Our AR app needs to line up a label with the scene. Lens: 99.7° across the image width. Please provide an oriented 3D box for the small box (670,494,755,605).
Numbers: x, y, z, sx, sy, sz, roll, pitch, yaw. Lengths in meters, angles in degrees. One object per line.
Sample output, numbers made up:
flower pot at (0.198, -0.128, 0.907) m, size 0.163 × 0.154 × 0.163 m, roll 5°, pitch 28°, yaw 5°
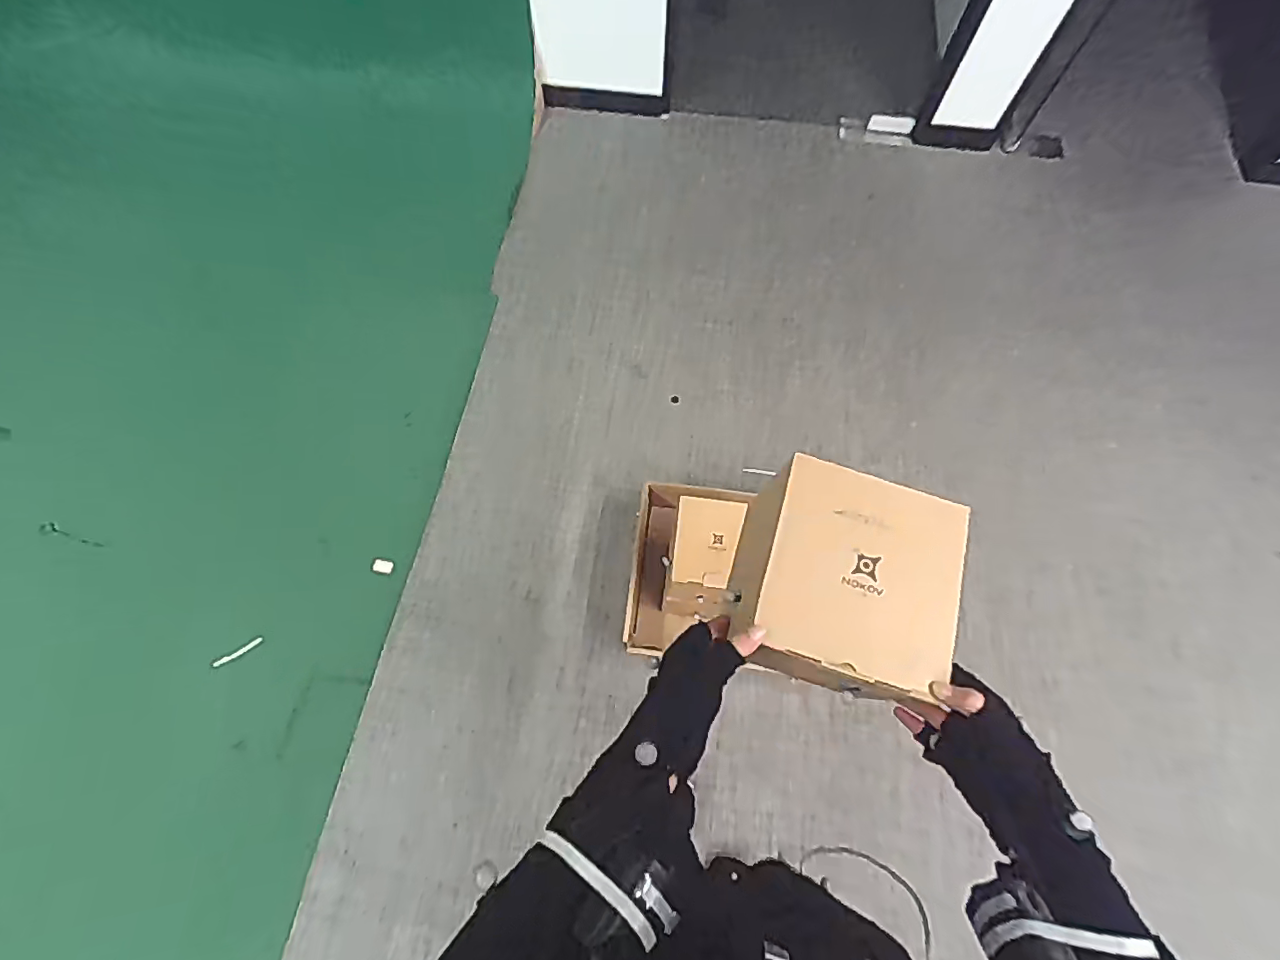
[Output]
small box at (0.154, 0.149, 1.107) m, size 0.168 × 0.176 × 0.179 m, roll 7°, pitch 67°, yaw 2°

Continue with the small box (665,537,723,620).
small box at (0.151, 0.214, 1.257) m, size 0.168 × 0.176 × 0.179 m, roll 8°, pitch 67°, yaw 3°

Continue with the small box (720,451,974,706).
small box at (0.187, 0.102, 0.530) m, size 0.168 × 0.176 × 0.179 m, roll 19°, pitch 70°, yaw 2°
